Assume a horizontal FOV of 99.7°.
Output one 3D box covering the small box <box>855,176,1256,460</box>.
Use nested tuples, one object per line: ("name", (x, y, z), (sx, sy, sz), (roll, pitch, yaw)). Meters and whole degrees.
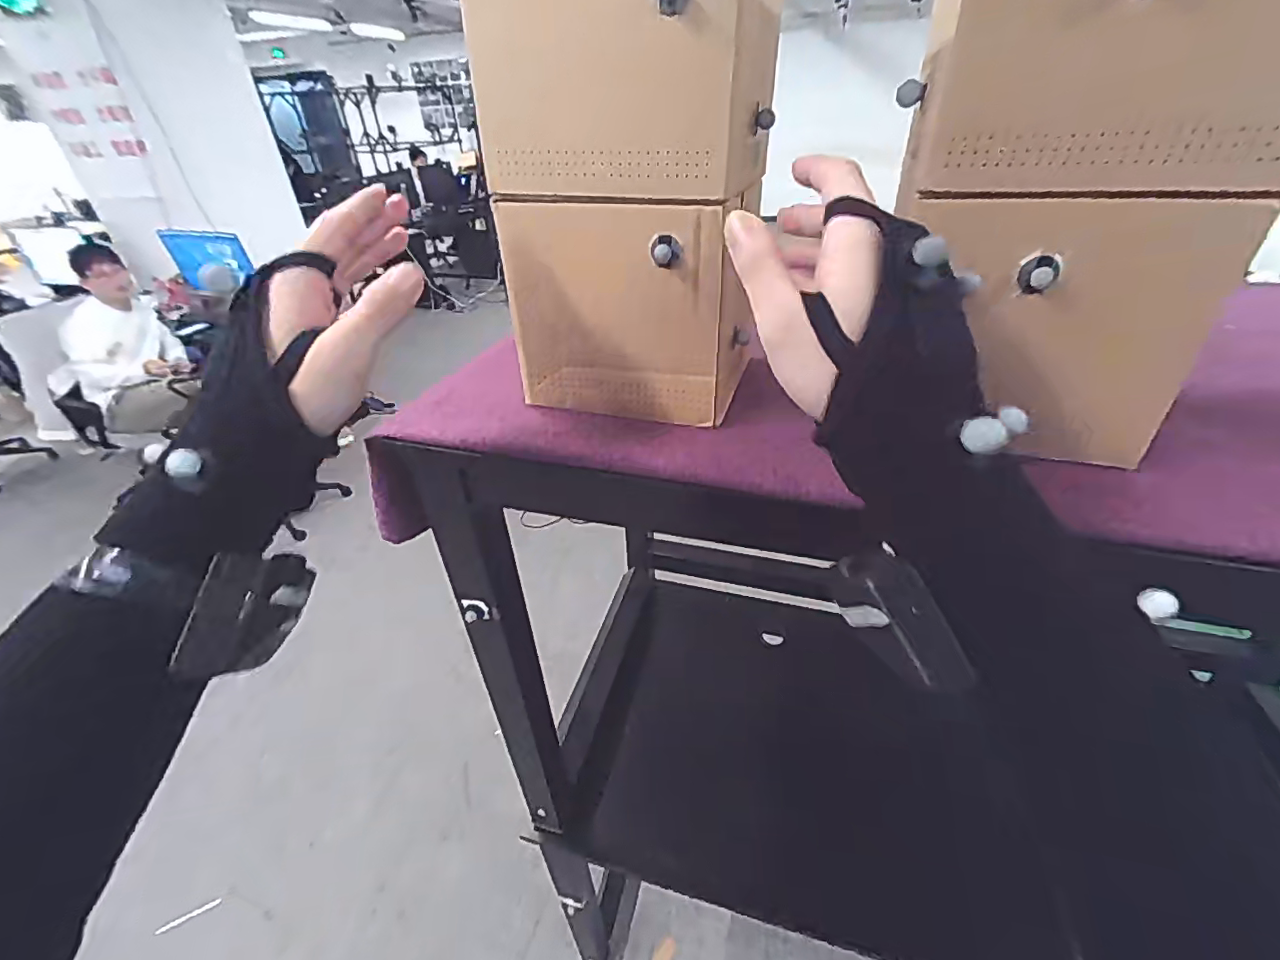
("small box", (0.265, -0.130, 0.406), (0.179, 0.176, 0.168), (9, 36, 18))

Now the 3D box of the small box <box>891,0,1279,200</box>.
("small box", (0.257, -0.265, 0.312), (0.179, 0.176, 0.168), (8, 35, 18))
